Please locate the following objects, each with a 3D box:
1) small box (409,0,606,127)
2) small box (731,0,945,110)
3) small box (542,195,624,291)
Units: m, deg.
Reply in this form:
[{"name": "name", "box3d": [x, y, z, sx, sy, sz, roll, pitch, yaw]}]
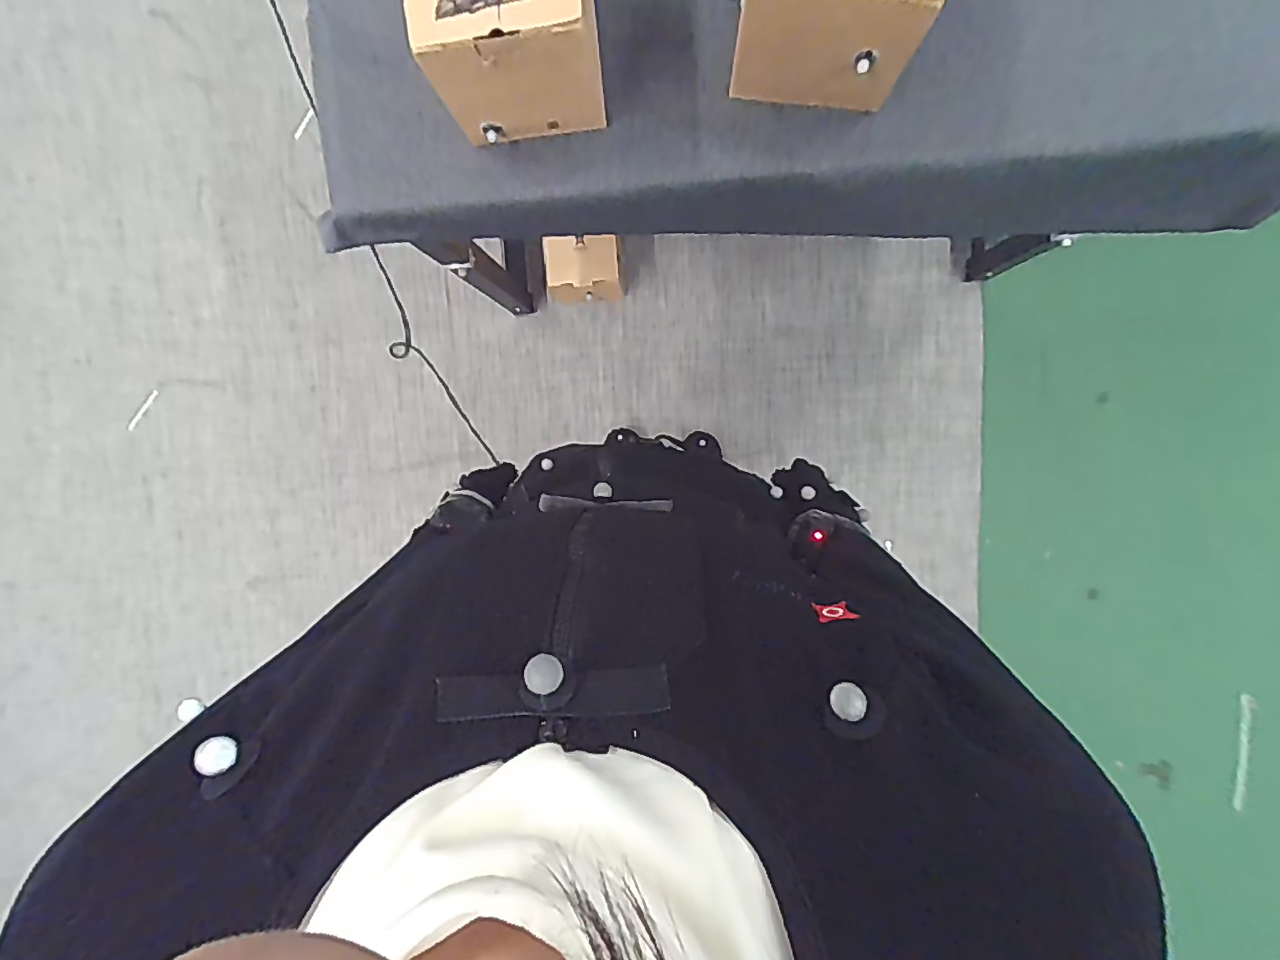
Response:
[{"name": "small box", "box3d": [-0.131, -0.503, 0.569, 0.168, 0.176, 0.179, -4, 94, 3]}, {"name": "small box", "box3d": [0.199, -0.516, 0.554, 0.179, 0.176, 0.168, 8, 95, 3]}, {"name": "small box", "box3d": [-0.130, -0.559, 1.300, 0.168, 0.176, 0.179, -3, 97, 3]}]
